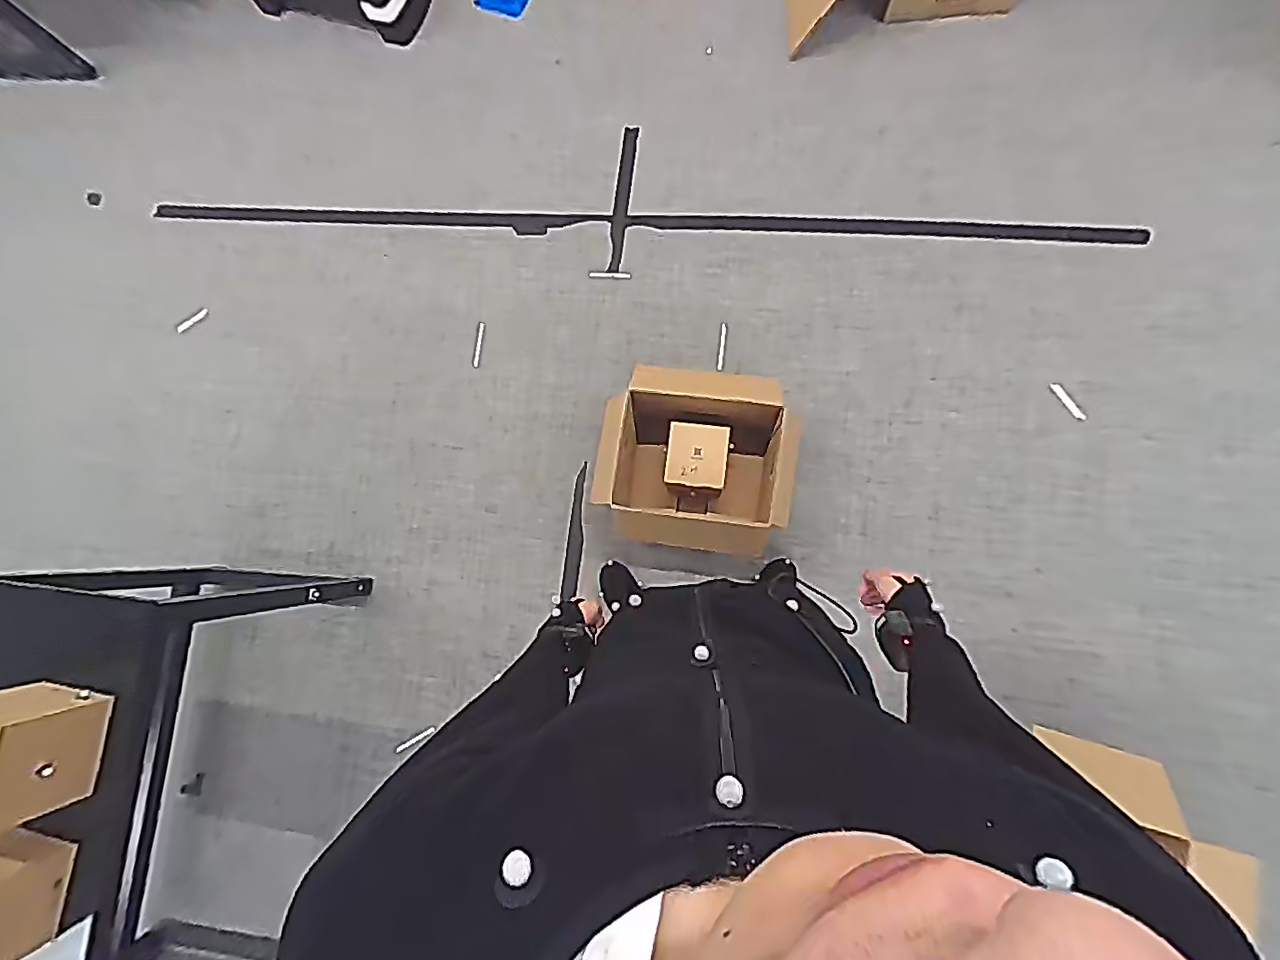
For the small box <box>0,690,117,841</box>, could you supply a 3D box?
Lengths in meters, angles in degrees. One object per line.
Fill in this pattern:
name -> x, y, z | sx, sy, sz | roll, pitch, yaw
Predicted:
small box -> -1.063, 0.479, 0.928 | 0.168, 0.176, 0.179 | 7, 85, 8
